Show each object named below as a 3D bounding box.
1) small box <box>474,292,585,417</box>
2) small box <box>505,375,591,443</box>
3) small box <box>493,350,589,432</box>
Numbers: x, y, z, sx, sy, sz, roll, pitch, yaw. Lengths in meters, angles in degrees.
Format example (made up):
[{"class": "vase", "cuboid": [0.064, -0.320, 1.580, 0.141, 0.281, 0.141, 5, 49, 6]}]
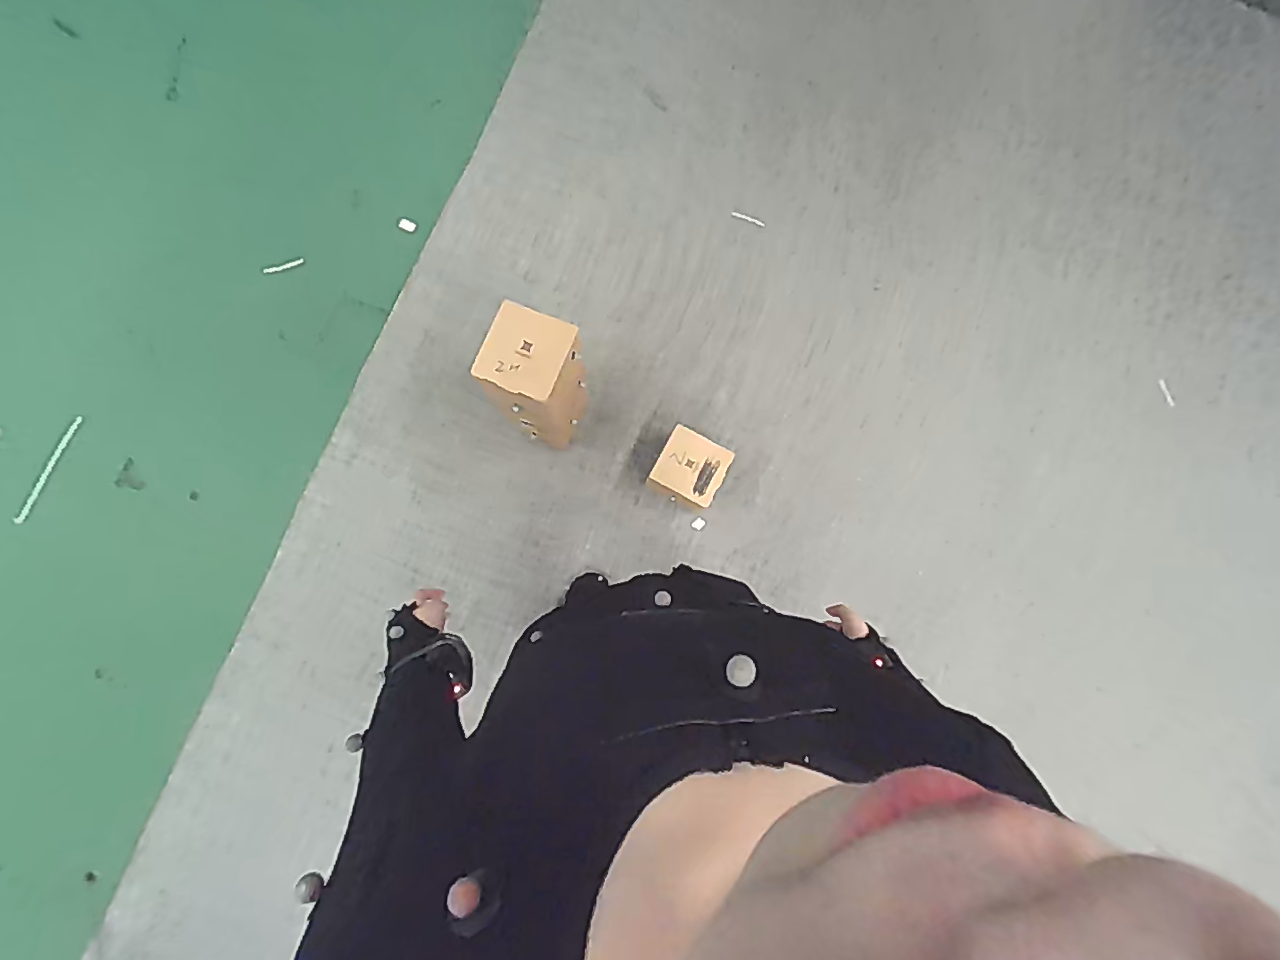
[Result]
[{"class": "small box", "cuboid": [-0.223, -0.257, 1.147, 0.168, 0.176, 0.179, 22, 81, 2]}, {"class": "small box", "cuboid": [-0.240, -0.218, 1.472, 0.168, 0.176, 0.179, 25, 82, 1]}, {"class": "small box", "cuboid": [-0.231, -0.238, 1.311, 0.168, 0.176, 0.179, 22, 83, 2]}]
